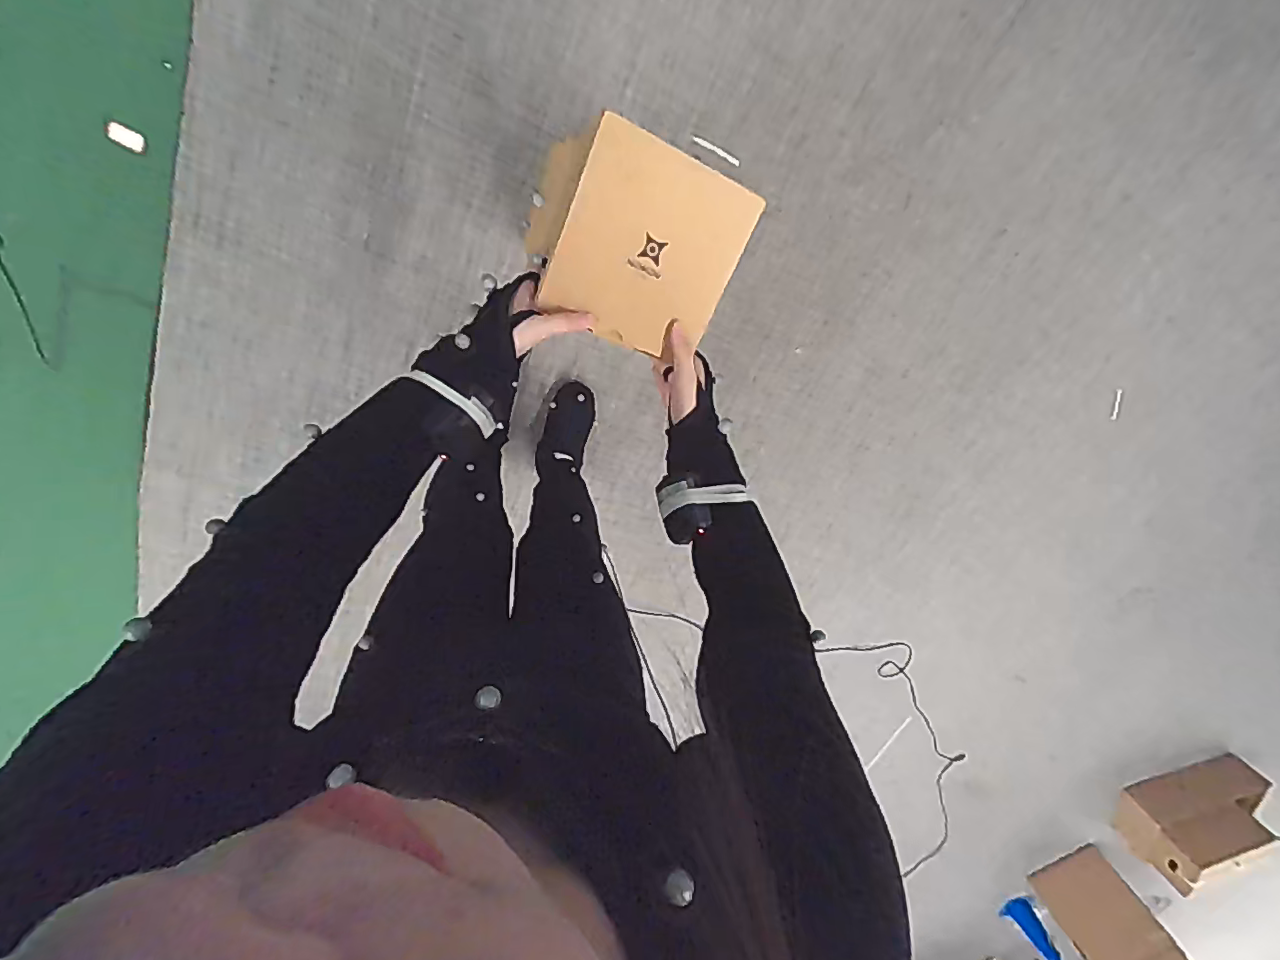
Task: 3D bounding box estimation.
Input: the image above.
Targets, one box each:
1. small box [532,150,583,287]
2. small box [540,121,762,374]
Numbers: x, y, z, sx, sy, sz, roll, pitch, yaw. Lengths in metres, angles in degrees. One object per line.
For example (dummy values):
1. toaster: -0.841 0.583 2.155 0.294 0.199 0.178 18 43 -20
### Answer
1. small box: -0.042 -0.331 0.751 0.179 0.176 0.168 16 113 -18
2. small box: -0.005 -0.244 0.581 0.168 0.176 0.179 18 112 -20
